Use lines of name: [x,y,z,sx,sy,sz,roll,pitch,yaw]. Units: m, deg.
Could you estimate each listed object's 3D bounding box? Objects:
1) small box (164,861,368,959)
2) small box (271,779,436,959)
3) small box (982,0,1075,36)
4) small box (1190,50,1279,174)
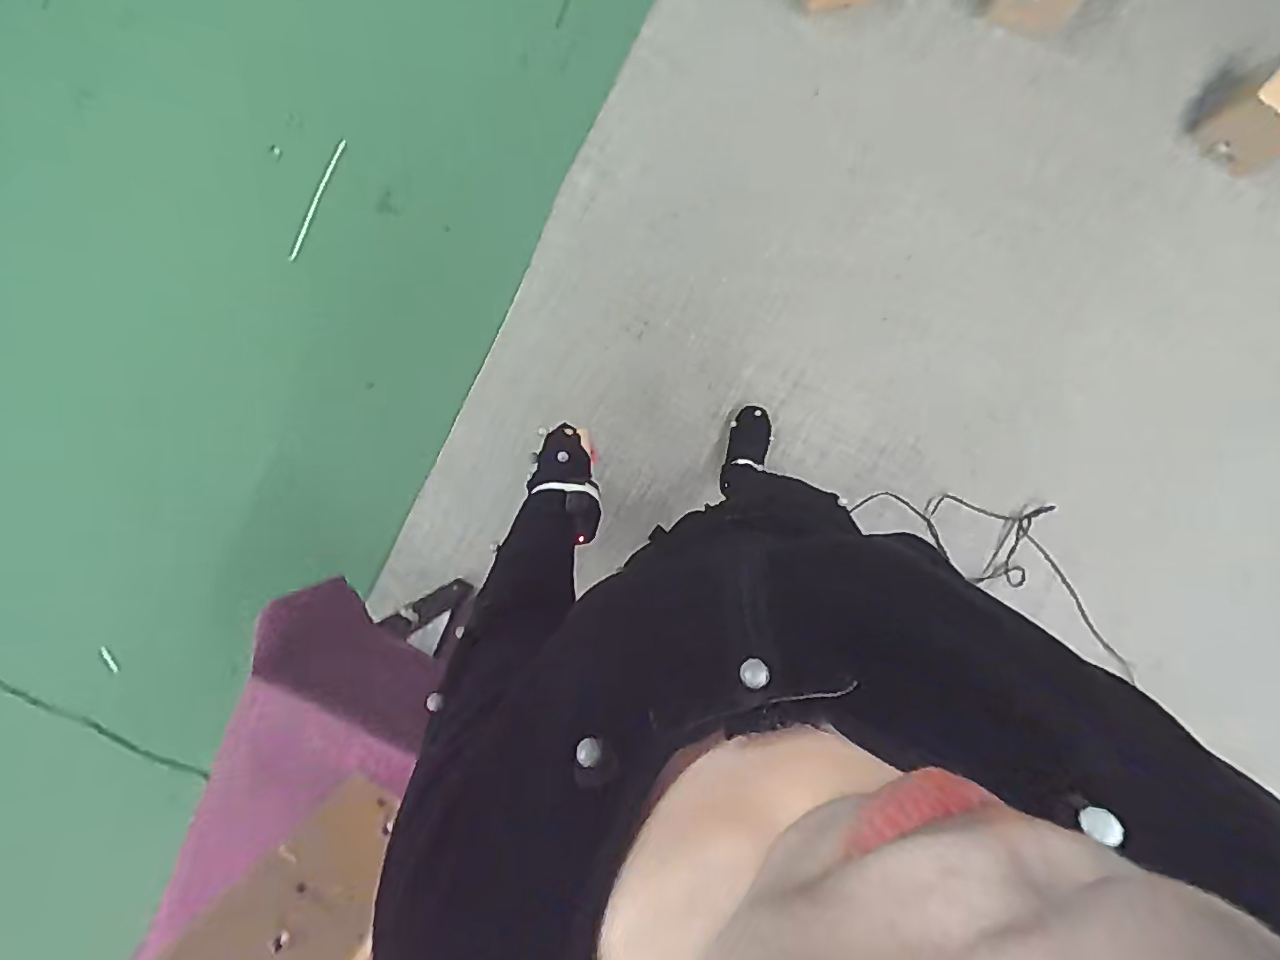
small box: [-0.442,0.585,0.603,0.168,0.176,0.179,29,95,5]
small box: [-0.423,0.578,0.767,0.168,0.176,0.179,30,95,4]
small box: [0.943,-1.191,1.258,0.179,0.176,0.168,21,95,6]
small box: [1.433,-0.847,1.223,0.168,0.176,0.179,41,96,3]
